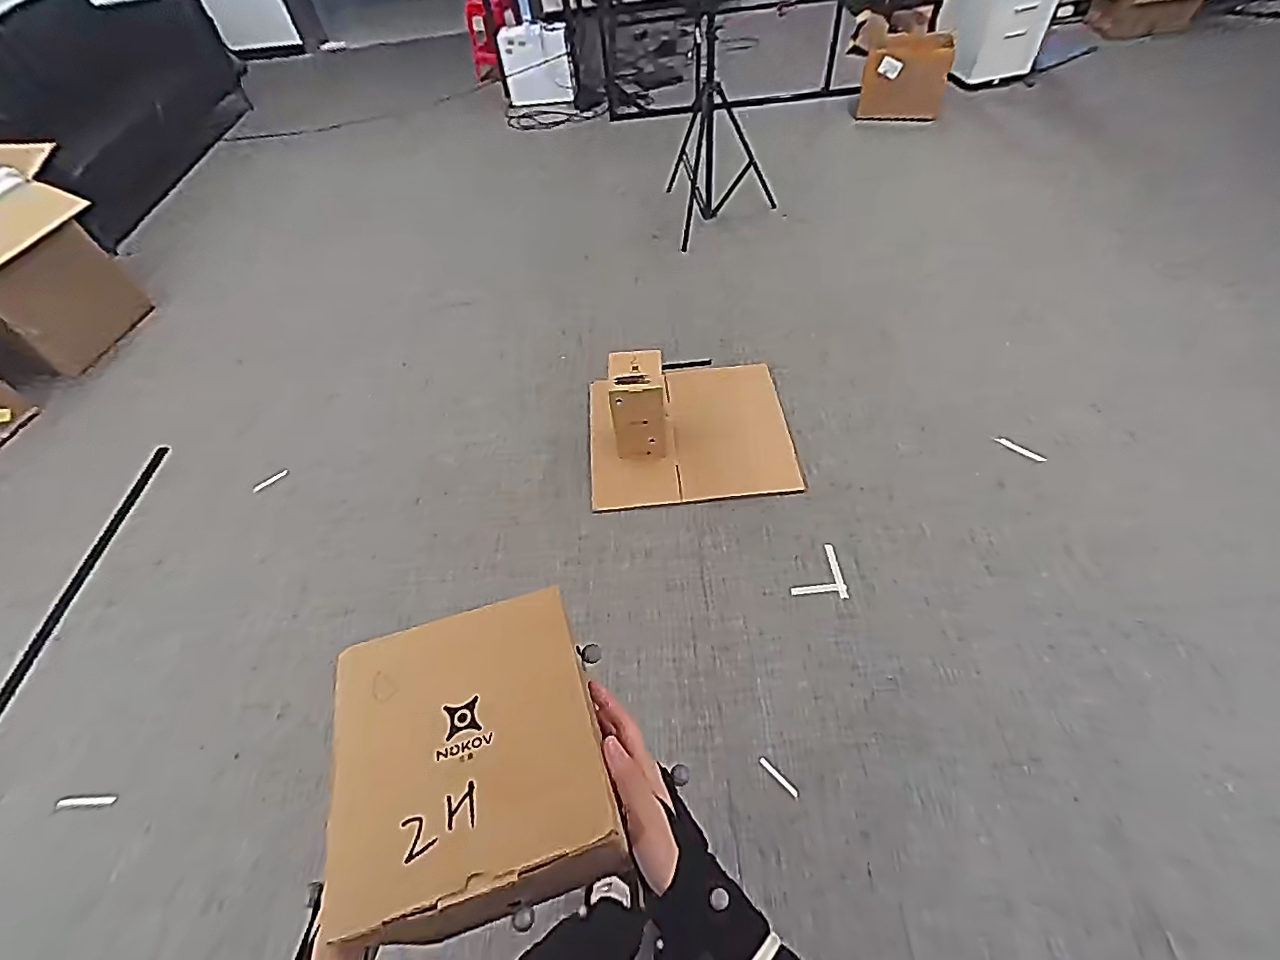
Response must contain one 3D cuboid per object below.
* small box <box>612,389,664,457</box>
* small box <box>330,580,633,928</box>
[{"bbox_3d":[-0.004,-0.190,1.862,0.168,0.176,0.179,-2,53,3],"label":"small box"},{"bbox_3d":[-0.108,0.210,0.416,0.168,0.176,0.179,-16,51,-8],"label":"small box"}]
